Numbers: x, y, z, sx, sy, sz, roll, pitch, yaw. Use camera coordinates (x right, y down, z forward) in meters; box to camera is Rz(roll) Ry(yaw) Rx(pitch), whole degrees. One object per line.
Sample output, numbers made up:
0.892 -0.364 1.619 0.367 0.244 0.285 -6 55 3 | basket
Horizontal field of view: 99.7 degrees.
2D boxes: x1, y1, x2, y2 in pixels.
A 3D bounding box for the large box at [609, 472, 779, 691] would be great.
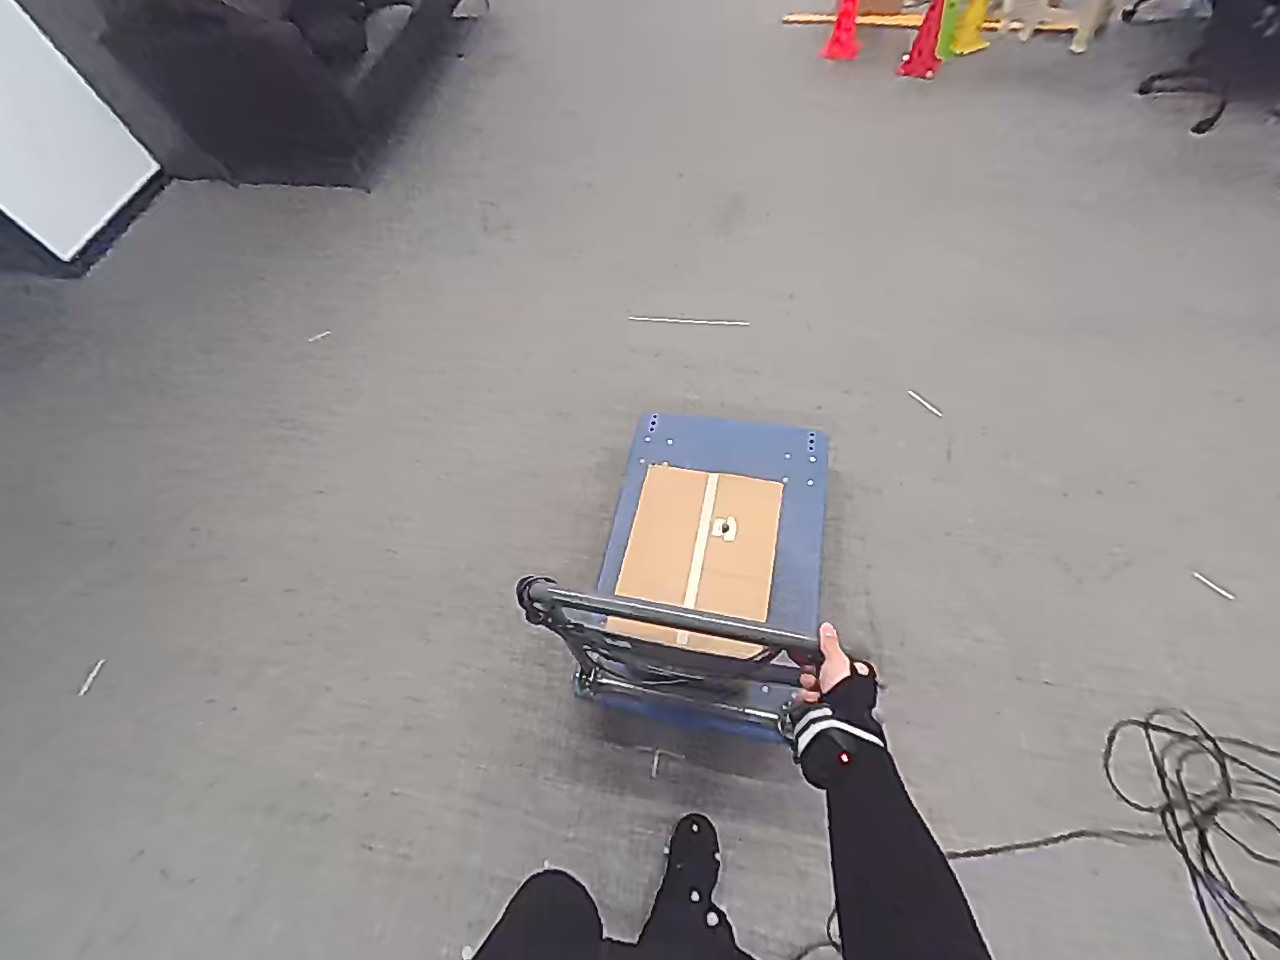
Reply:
0.141 0.245 1.290 0.320 0.320 0.408 9 60 11 | large box
